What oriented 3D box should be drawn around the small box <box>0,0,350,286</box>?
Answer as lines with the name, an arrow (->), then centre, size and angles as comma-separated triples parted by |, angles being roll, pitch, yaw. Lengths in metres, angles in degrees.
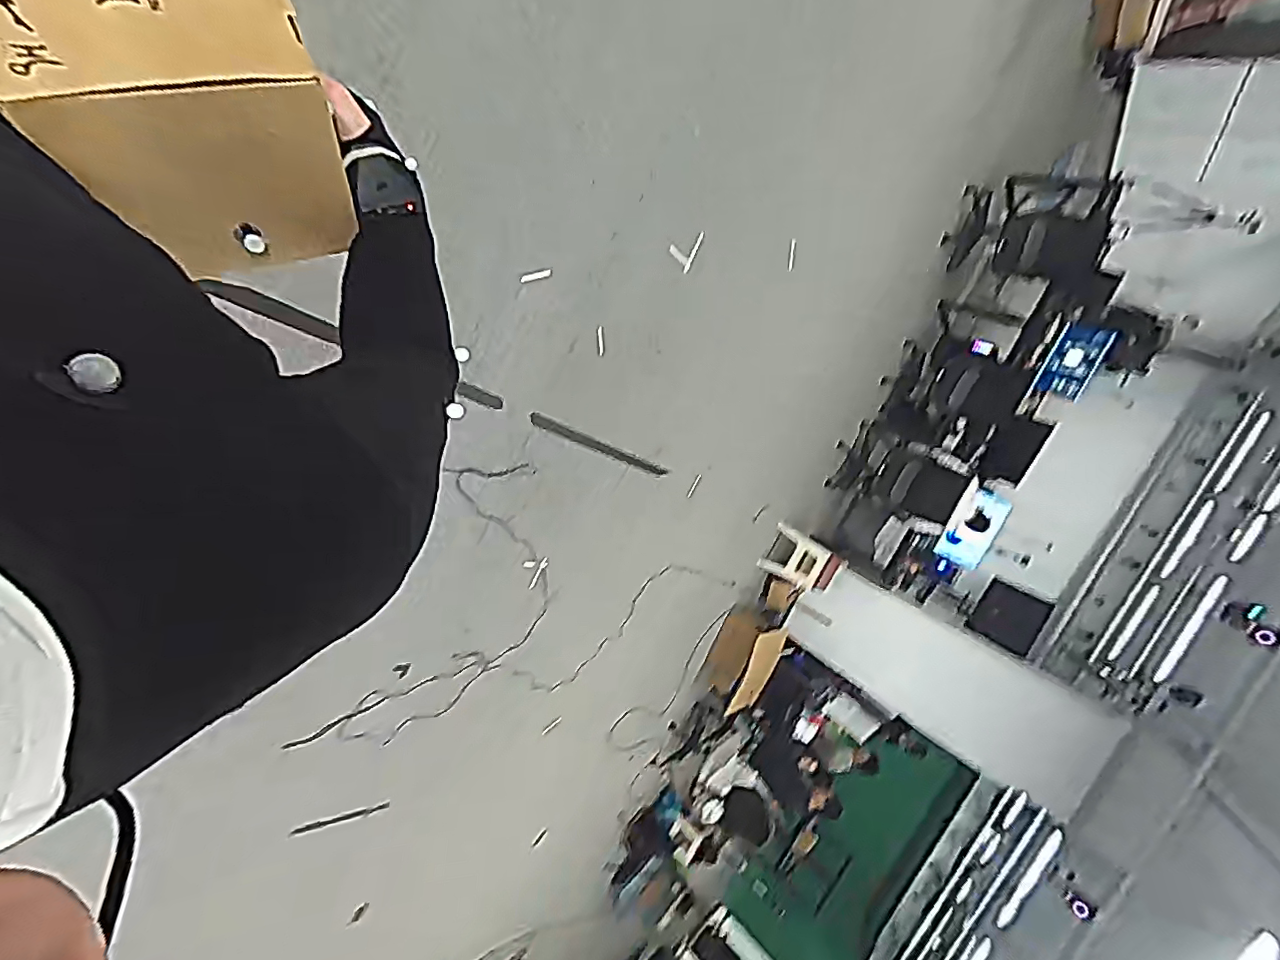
small box -> -0.360, -0.291, 0.447 | 0.179, 0.168, 0.176 | -23, 169, -24
